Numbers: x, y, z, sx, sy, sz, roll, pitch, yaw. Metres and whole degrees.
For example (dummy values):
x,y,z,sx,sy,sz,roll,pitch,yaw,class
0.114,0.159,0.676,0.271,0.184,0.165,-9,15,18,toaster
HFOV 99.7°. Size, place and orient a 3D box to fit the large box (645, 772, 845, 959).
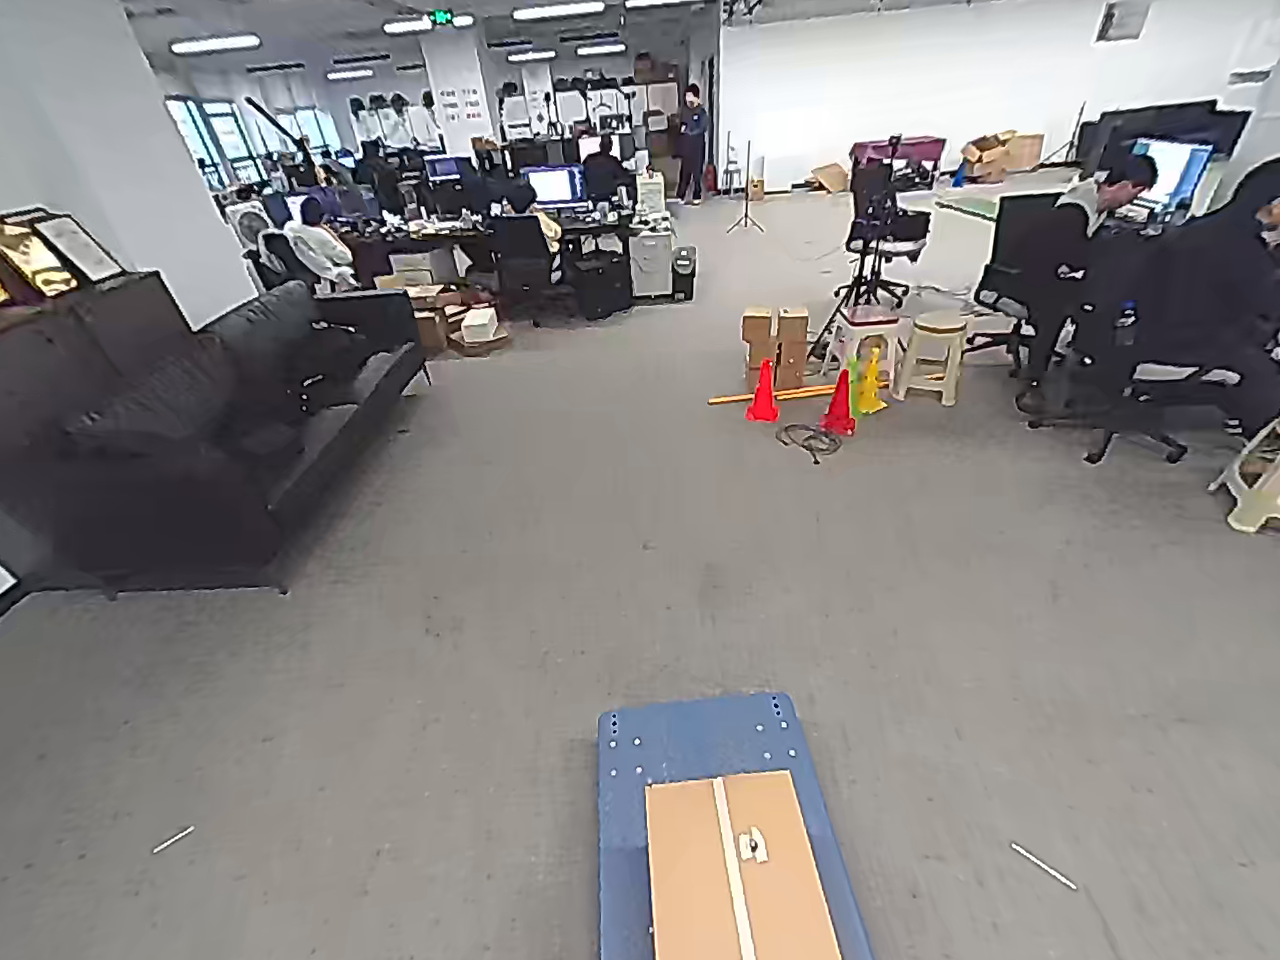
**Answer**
x,y,z,sx,sy,sz,roll,pitch,yaw,class
0.193,0.872,1.068,0.320,0.320,0.408,-6,34,0,large box
